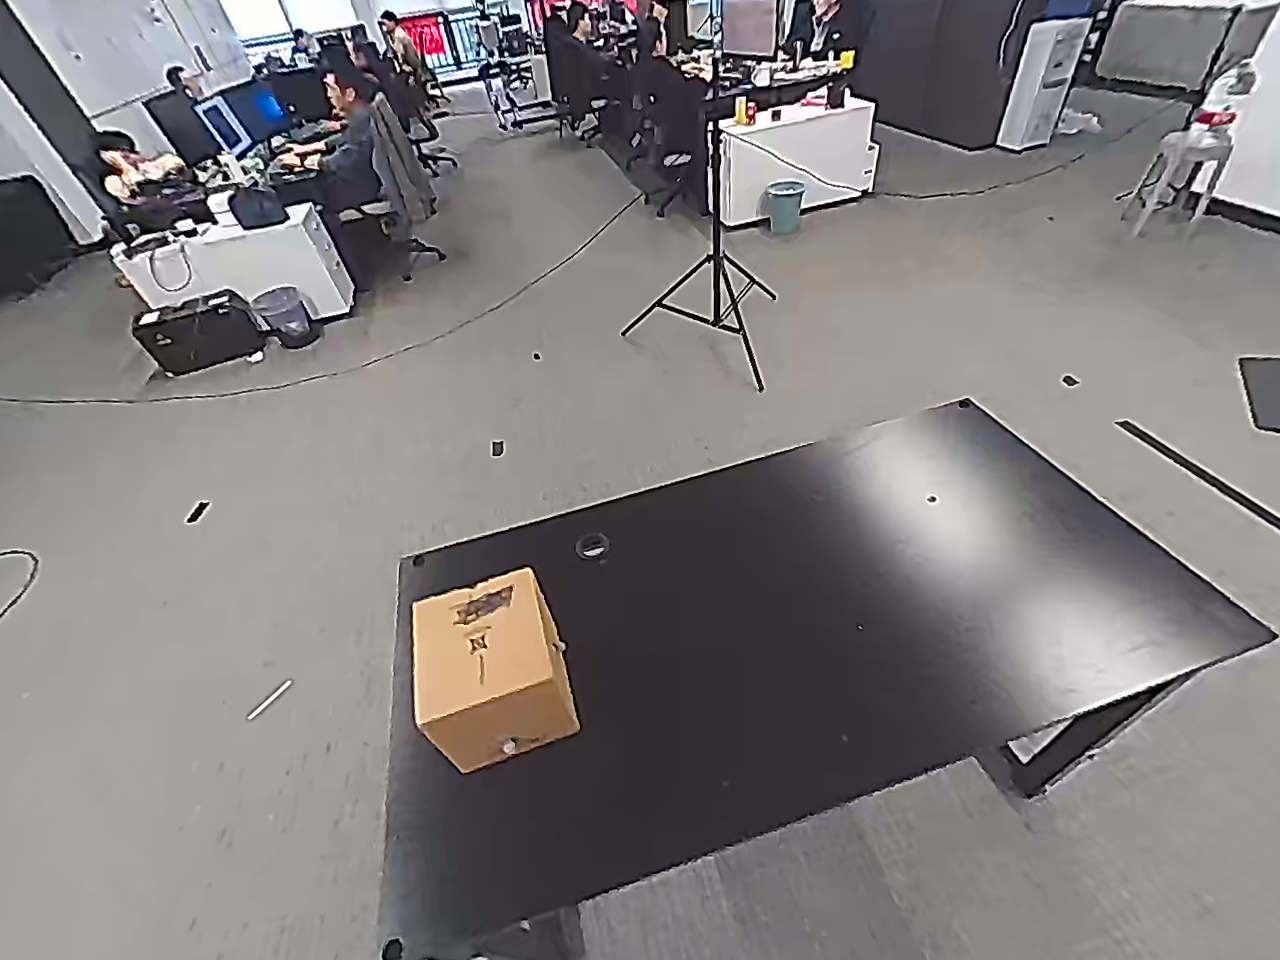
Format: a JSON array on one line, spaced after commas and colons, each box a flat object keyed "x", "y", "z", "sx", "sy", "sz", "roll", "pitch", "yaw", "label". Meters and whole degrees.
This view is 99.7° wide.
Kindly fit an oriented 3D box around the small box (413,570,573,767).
[{"x": -0.202, "y": 0.262, "z": 0.751, "sx": 0.168, "sy": 0.176, "sz": 0.179, "roll": -17, "pitch": 46, "yaw": -8, "label": "small box"}]
